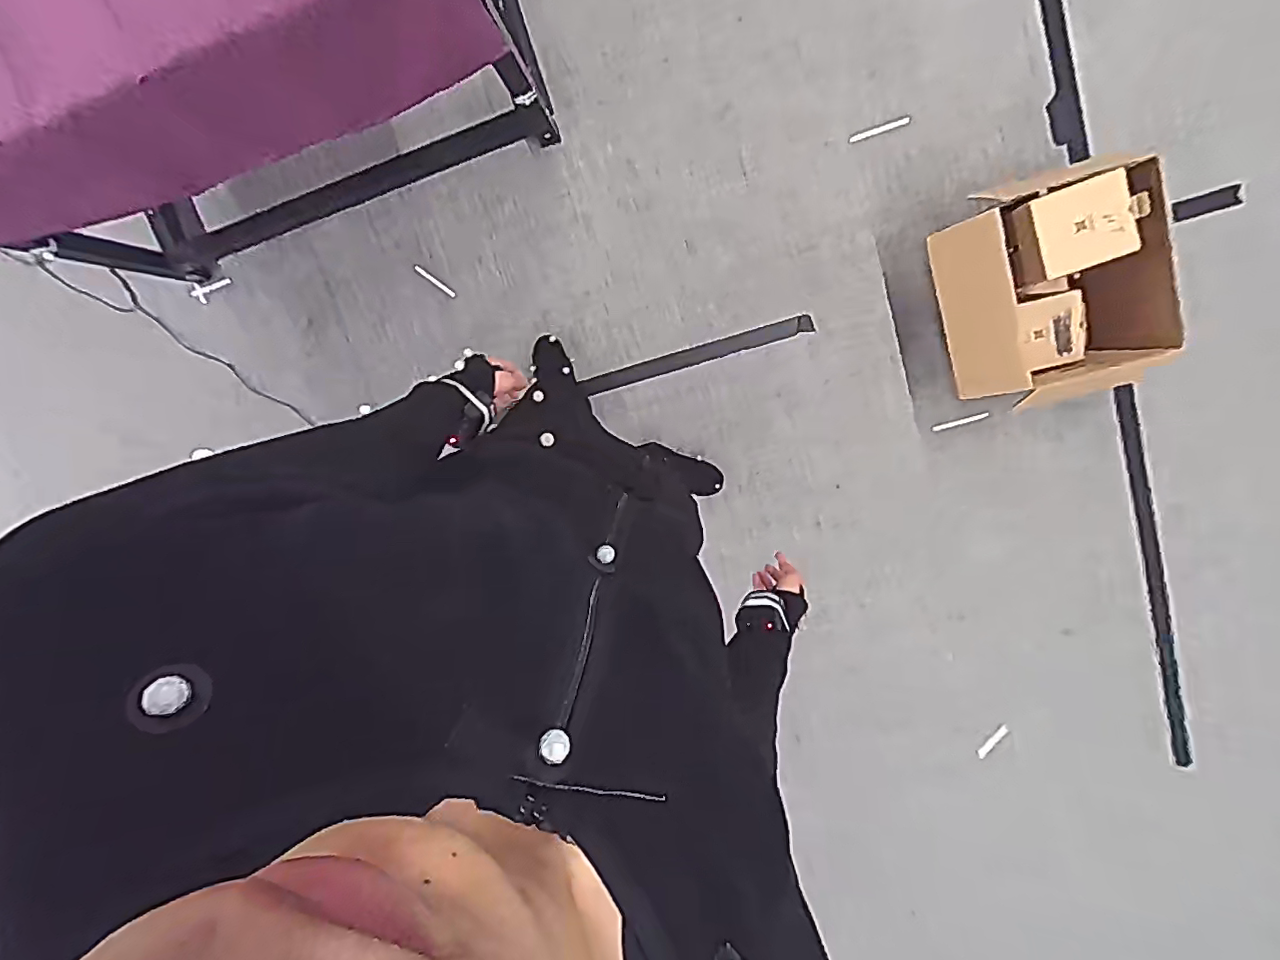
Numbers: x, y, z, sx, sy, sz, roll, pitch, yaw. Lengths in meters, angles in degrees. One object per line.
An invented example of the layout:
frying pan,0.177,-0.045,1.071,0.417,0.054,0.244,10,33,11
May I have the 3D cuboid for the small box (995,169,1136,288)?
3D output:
small box,0.901,-0.529,1.165,0.179,0.176,0.168,-17,100,9
